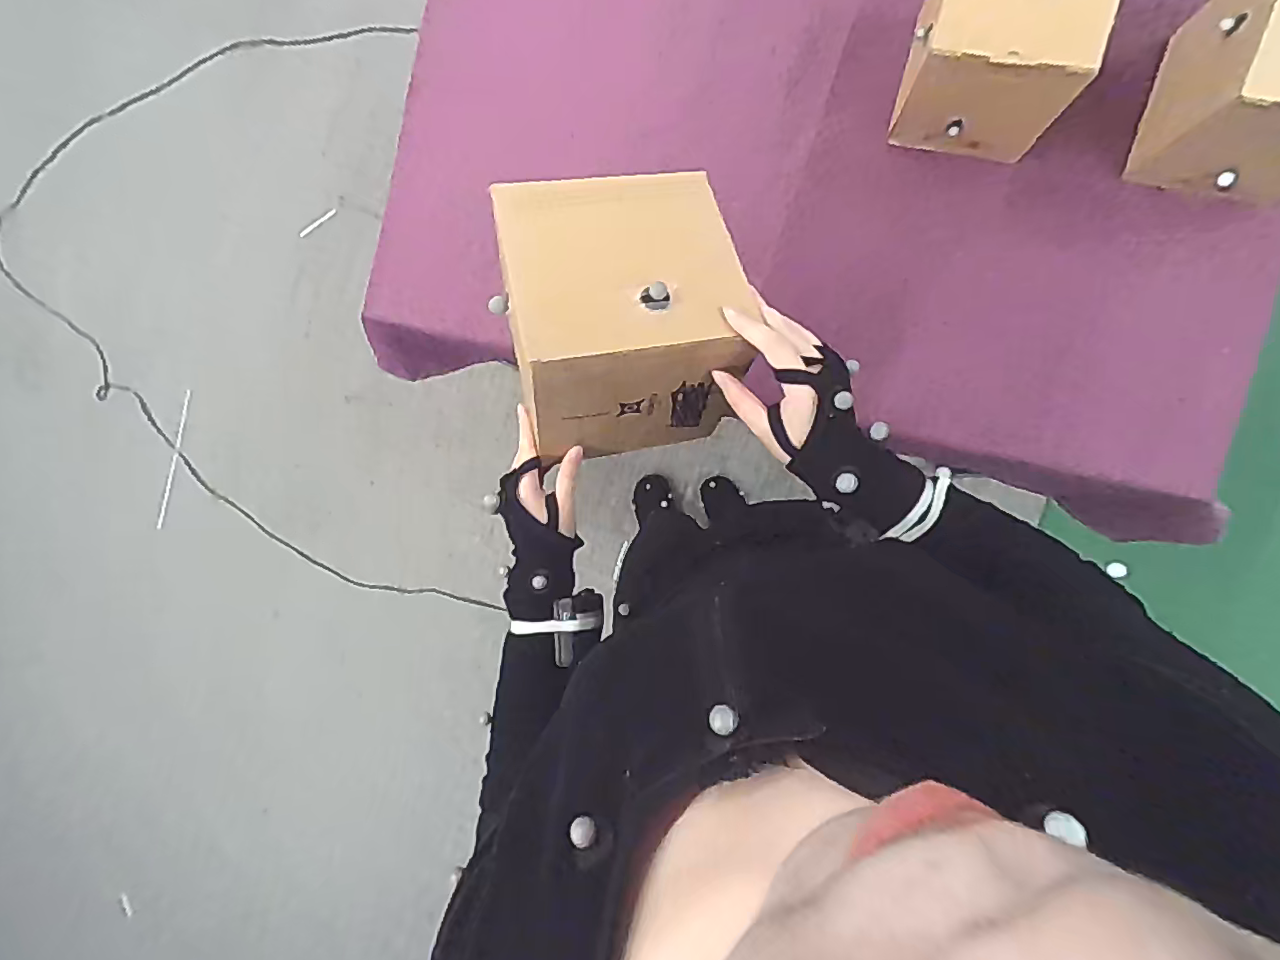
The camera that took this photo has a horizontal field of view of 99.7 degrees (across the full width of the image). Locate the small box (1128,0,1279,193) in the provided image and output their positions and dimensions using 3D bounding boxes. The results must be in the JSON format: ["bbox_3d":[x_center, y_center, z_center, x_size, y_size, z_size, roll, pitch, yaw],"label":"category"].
[{"bbox_3d":[0.684,-0.444,0.575,0.168,0.176,0.179,17,98,9],"label":"small box"}]

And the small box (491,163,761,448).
[{"bbox_3d":[-0.023,-0.147,0.472,0.179,0.168,0.176,-9,69,-11],"label":"small box"}]

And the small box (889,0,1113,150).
[{"bbox_3d":[0.411,-0.525,0.624,0.168,0.176,0.179,15,96,9],"label":"small box"}]
